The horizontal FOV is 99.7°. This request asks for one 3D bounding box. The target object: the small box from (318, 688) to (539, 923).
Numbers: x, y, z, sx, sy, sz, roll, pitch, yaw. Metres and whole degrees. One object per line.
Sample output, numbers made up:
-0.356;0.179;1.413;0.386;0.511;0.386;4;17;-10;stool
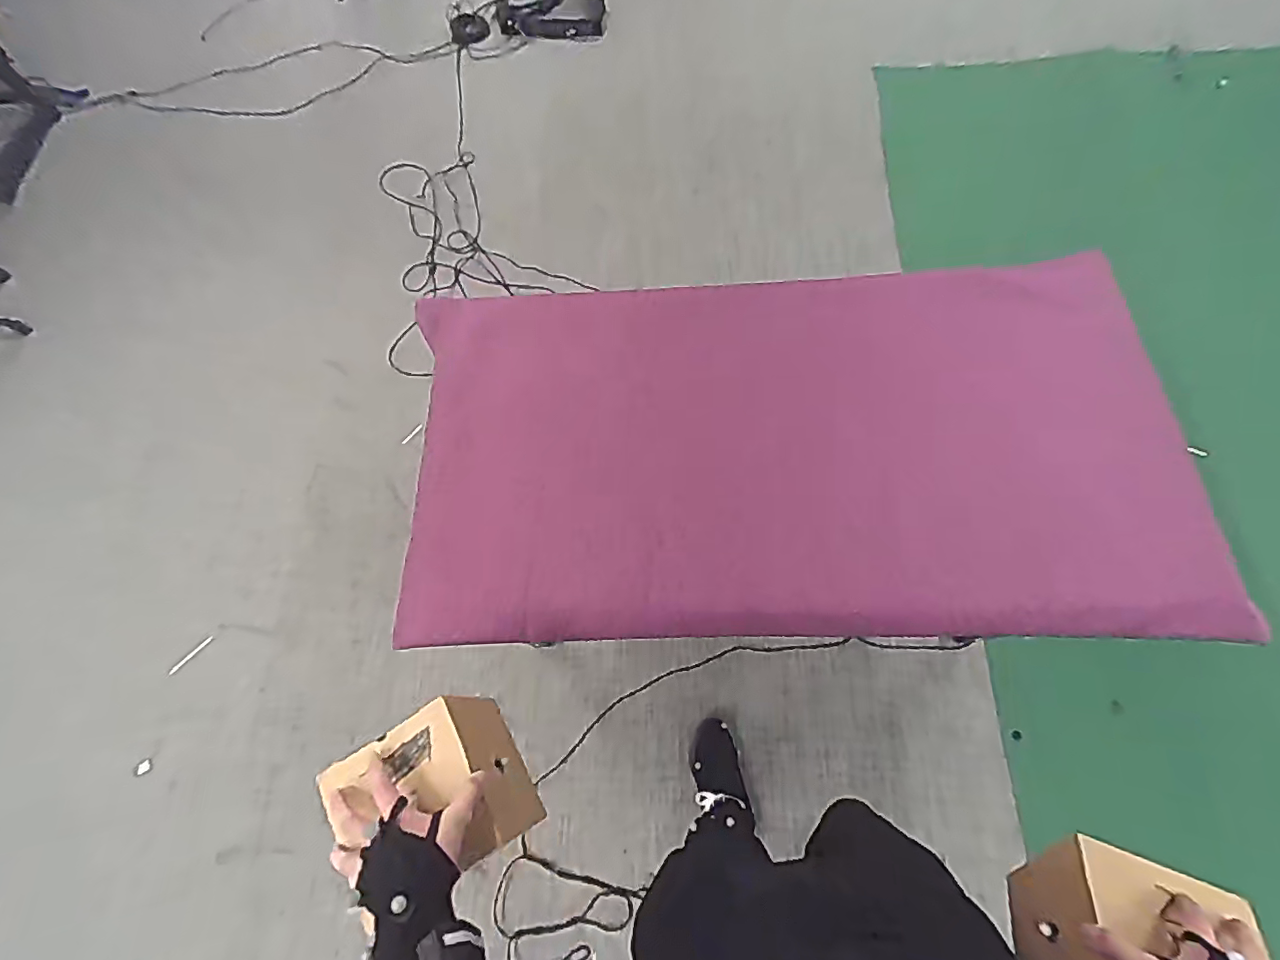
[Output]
-0.250;0.383;0.670;0.168;0.176;0.179;-31;68;-6;small box
